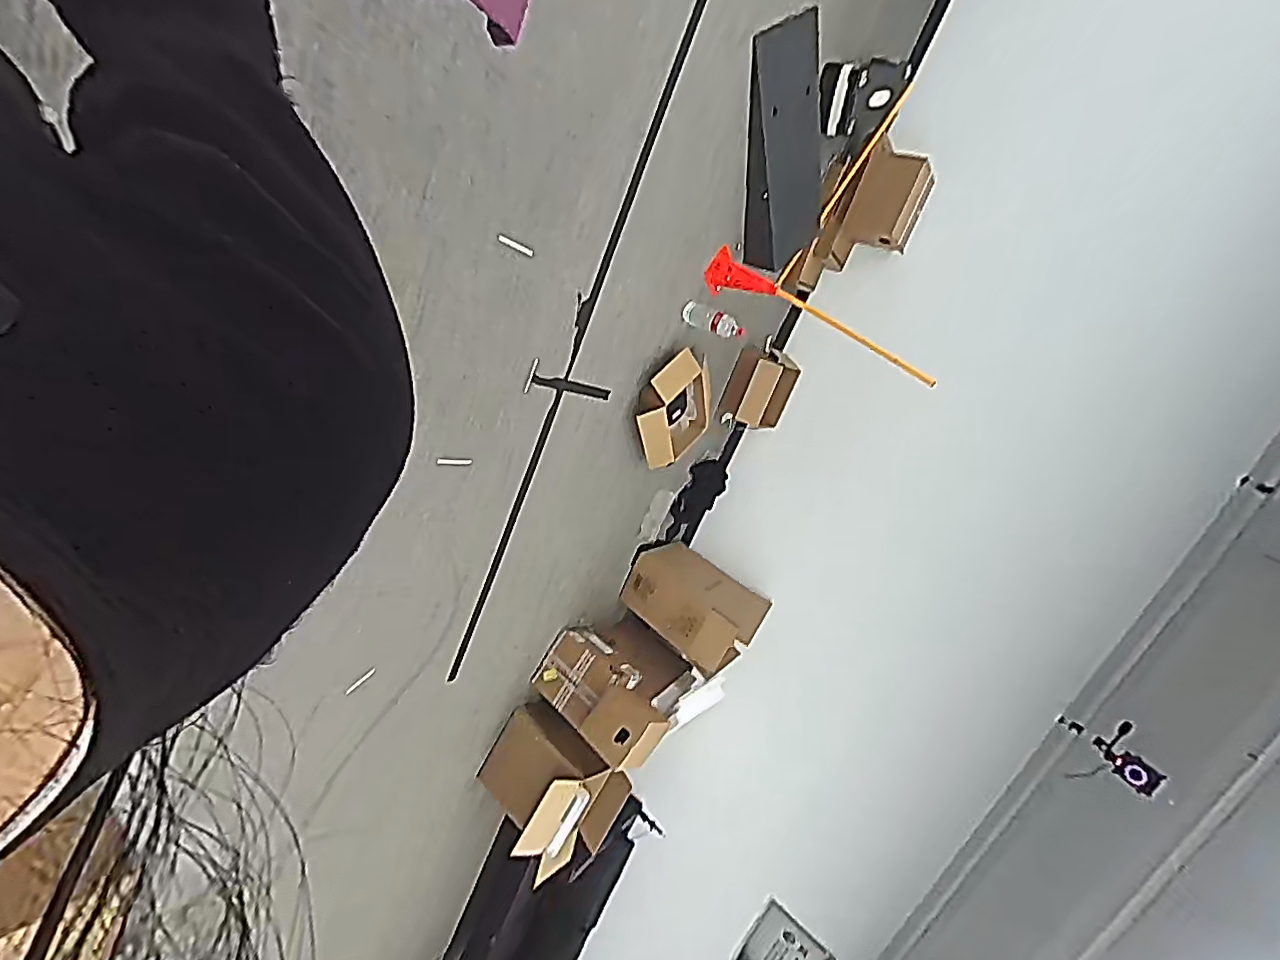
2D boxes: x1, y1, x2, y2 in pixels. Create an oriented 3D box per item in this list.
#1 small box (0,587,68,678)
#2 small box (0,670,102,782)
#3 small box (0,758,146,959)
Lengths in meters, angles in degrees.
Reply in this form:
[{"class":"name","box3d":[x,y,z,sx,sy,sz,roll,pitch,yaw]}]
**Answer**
[{"class":"small box","box3d":[-0.853,0.259,0.665,0.168,0.176,0.179,0,119,-59]},{"class":"small box","box3d":[-0.731,0.334,0.588,0.168,0.176,0.179,-2,120,-57]},{"class":"small box","box3d":[-0.611,0.412,0.511,0.168,0.176,0.179,-3,120,-58]}]
